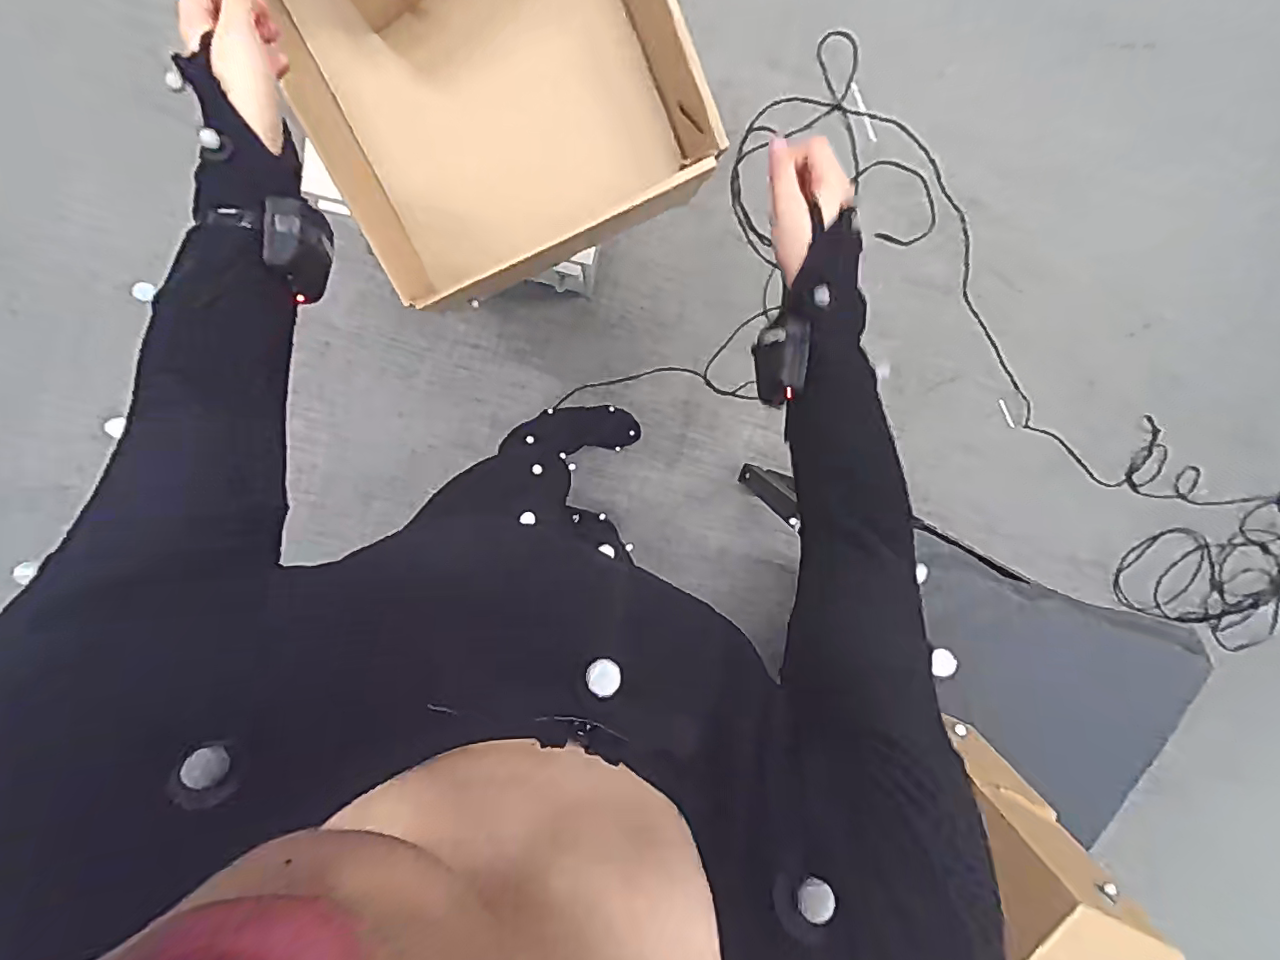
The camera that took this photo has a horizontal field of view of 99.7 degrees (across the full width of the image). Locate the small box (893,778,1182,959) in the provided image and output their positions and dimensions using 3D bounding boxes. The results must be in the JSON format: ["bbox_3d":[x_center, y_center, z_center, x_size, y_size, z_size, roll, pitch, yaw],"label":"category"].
[{"bbox_3d":[0.448,0.496,0.638,0.179,0.176,0.168,31,98,-12],"label":"small box"}]

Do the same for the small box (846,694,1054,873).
[{"bbox_3d":[0.434,0.458,0.796,0.168,0.176,0.179,25,100,-12],"label":"small box"}]
